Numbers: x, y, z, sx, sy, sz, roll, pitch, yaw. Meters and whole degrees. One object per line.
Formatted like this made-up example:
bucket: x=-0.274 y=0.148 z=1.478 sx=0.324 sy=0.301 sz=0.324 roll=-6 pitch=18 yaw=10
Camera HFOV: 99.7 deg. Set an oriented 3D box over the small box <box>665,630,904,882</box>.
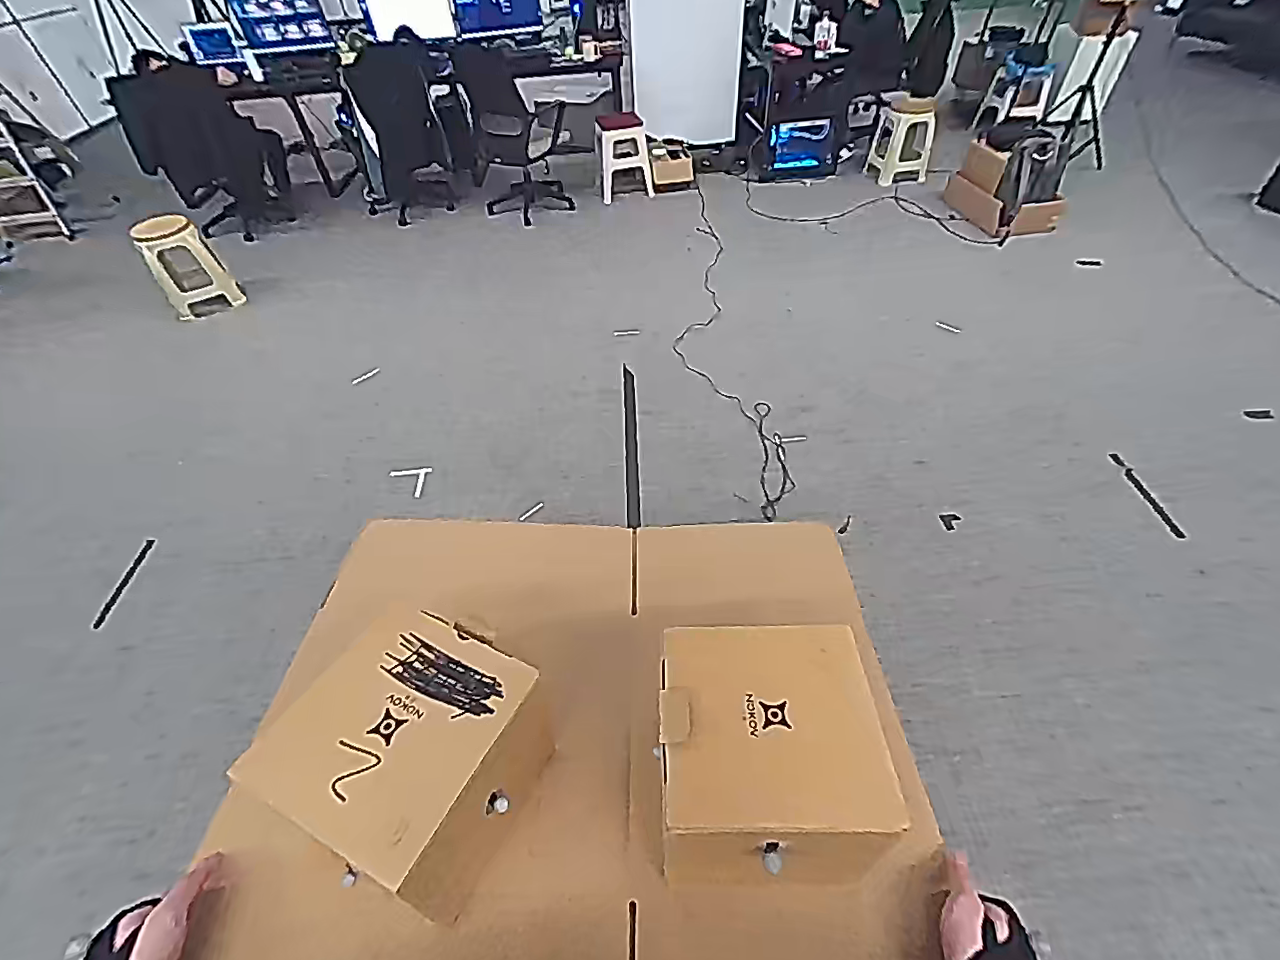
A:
small box: x=0.112 y=0.258 z=0.508 sx=0.179 sy=0.176 sz=0.168 roll=-2 pitch=42 yaw=3
